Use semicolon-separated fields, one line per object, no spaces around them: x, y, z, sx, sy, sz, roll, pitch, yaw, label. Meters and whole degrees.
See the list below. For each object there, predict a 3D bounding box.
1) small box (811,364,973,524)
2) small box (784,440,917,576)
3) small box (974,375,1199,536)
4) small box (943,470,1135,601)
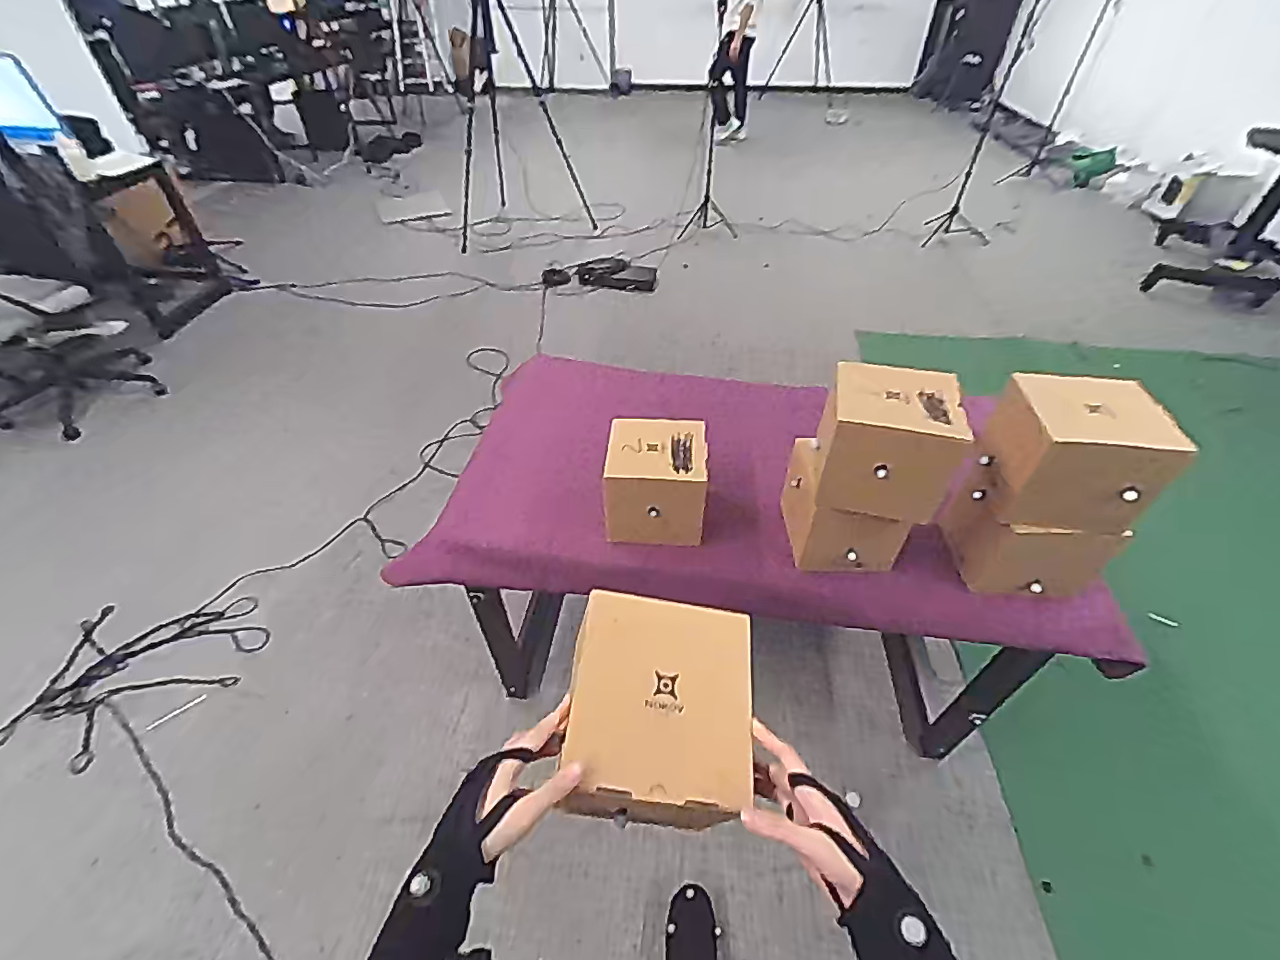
0.373;-0.054;0.830;0.179;0.176;0.168;10;44;12;small box
0.362;0.048;0.961;0.168;0.176;0.179;0;43;2;small box
0.641;-0.035;0.807;0.179;0.176;0.168;6;44;8;small box
0.653;0.089;0.914;0.179;0.176;0.168;2;44;4;small box
